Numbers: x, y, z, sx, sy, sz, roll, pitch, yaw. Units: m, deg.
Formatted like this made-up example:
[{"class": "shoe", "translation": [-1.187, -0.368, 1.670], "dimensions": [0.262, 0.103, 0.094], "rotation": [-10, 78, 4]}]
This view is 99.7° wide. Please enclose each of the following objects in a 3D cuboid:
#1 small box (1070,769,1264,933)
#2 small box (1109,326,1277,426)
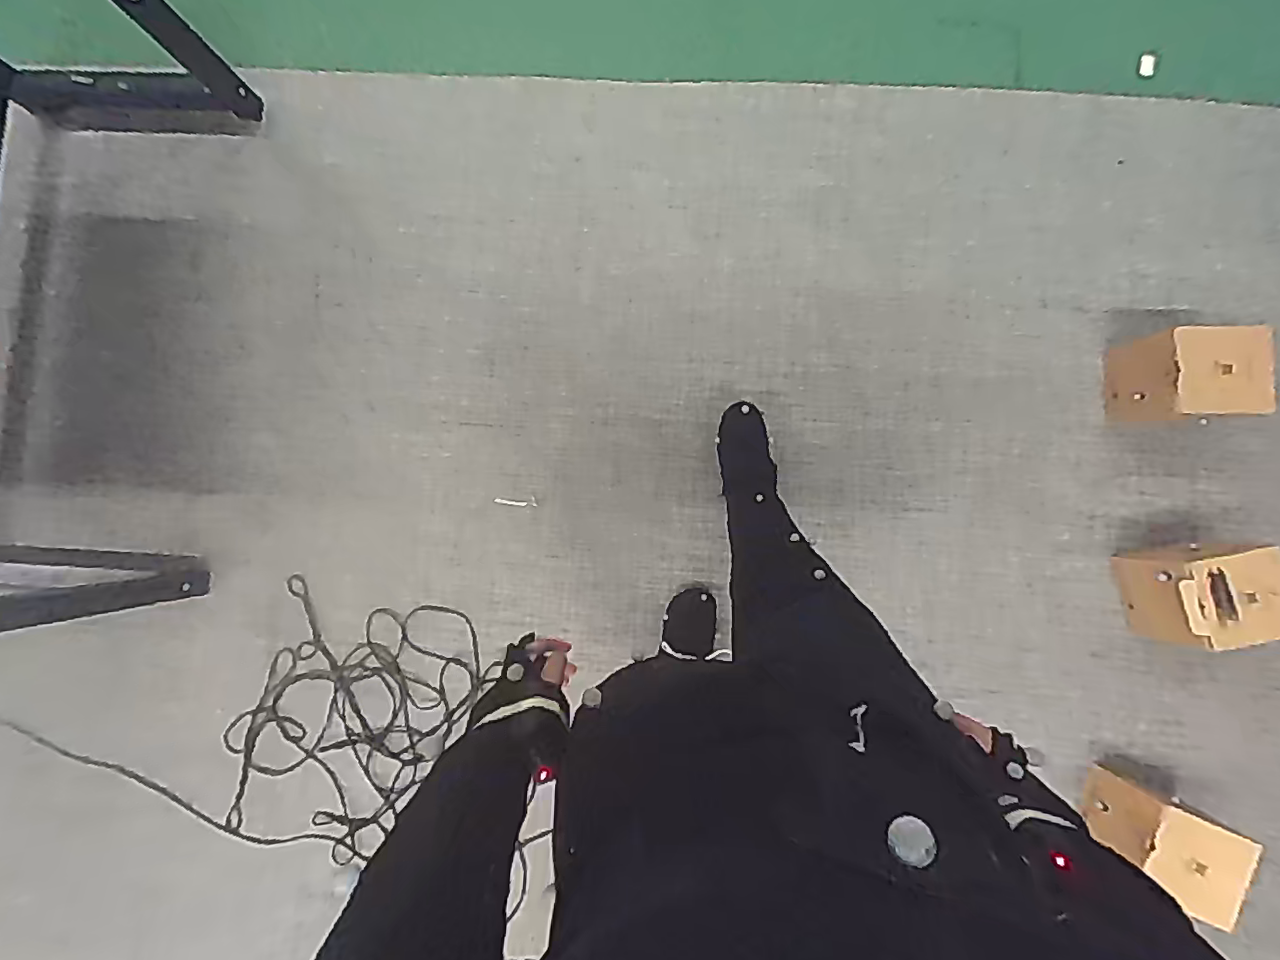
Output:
[{"class": "small box", "translation": [0.990, 0.690, 1.031], "dimensions": [0.179, 0.176, 0.168], "rotation": [23, 88, 4]}, {"class": "small box", "translation": [1.088, -0.200, 1.081], "dimensions": [0.179, 0.176, 0.168], "rotation": [0, 88, 2]}]
